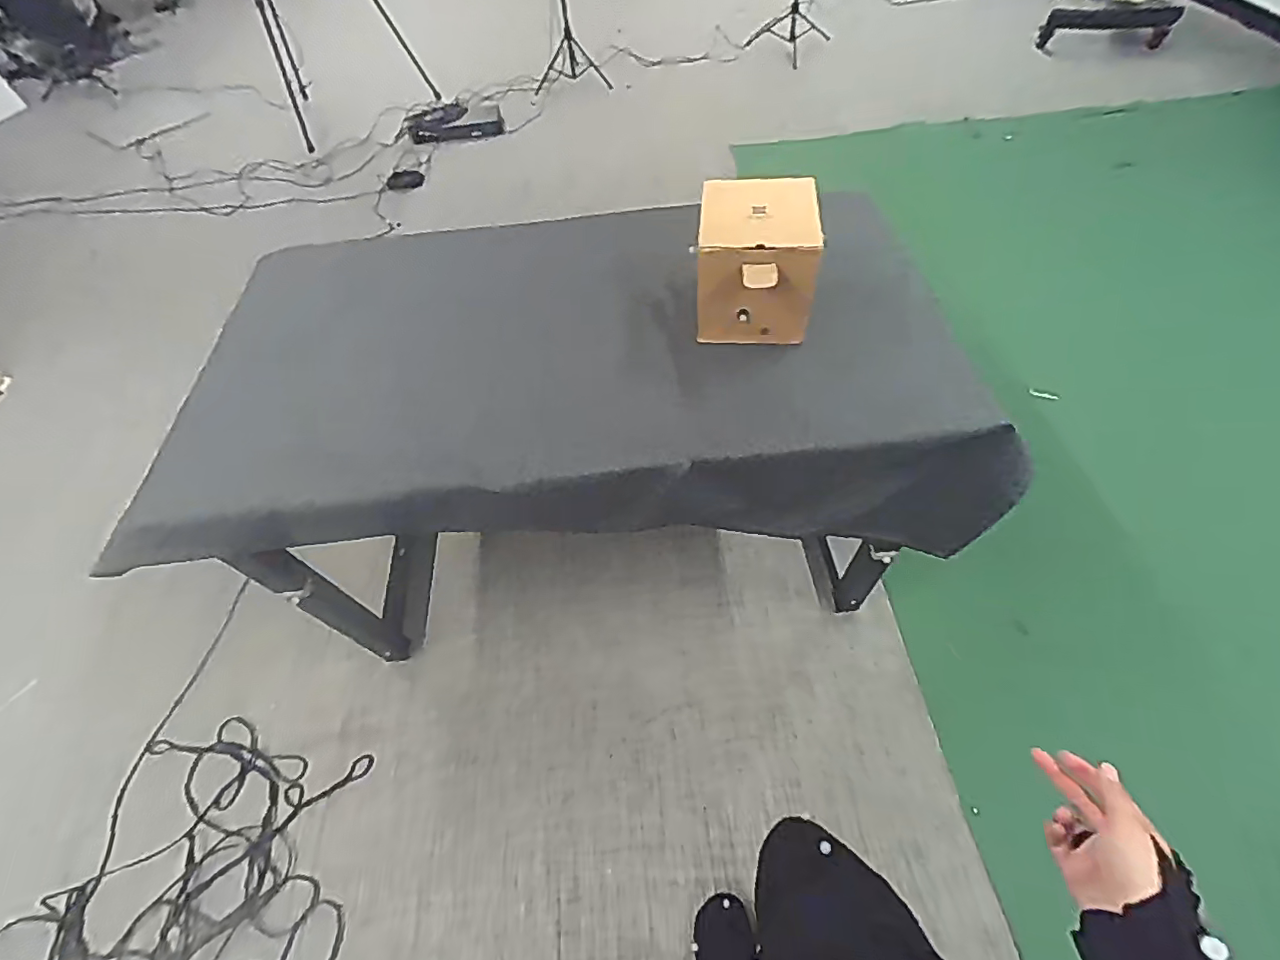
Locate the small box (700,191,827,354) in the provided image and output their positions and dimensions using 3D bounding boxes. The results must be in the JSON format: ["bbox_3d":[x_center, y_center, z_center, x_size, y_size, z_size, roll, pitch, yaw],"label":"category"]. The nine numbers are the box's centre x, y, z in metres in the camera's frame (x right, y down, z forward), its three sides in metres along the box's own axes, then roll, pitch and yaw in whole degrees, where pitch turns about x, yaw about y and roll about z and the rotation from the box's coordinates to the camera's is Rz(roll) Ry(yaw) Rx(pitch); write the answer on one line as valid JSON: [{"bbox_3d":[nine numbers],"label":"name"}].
[{"bbox_3d":[0.181,-0.319,0.834,0.168,0.176,0.179,3,56,7],"label":"small box"}]
